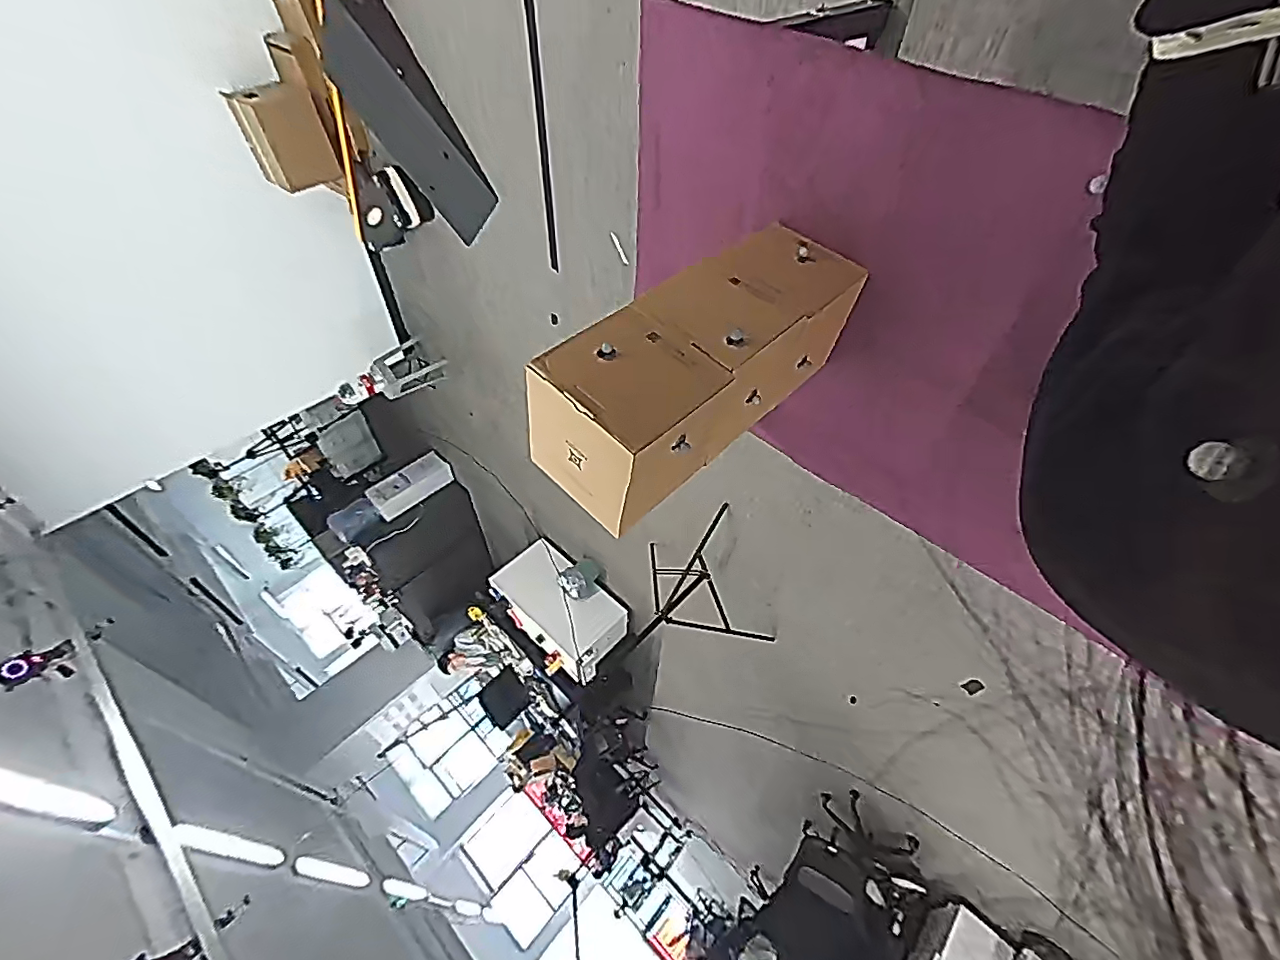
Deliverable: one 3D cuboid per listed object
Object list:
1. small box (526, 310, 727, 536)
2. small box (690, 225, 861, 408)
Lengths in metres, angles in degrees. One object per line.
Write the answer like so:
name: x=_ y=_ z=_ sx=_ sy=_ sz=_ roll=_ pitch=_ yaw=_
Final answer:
small box: x=-0.017 y=-0.073 z=0.656 sx=0.168 sy=0.176 sz=0.179 roll=41 pitch=151 yaw=19
small box: x=0.202 y=-0.250 z=0.822 sx=0.168 sy=0.176 sz=0.179 roll=39 pitch=148 yaw=20
